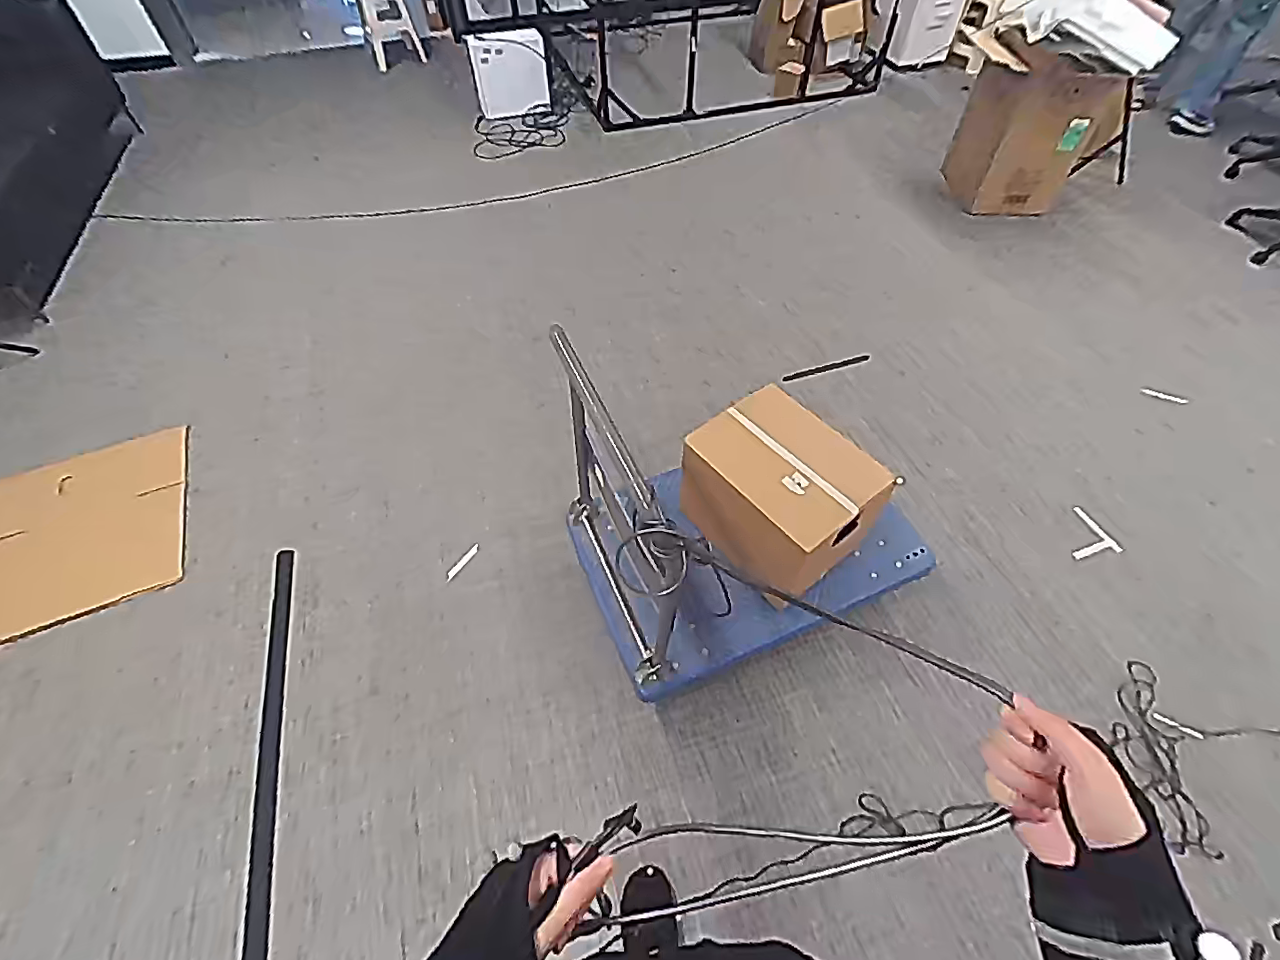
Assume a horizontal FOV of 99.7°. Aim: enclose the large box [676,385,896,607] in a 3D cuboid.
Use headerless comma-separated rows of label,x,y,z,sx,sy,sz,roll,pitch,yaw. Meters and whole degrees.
large box,0.341,0.038,1.383,0.320,0.320,0.408,-33,61,-20
